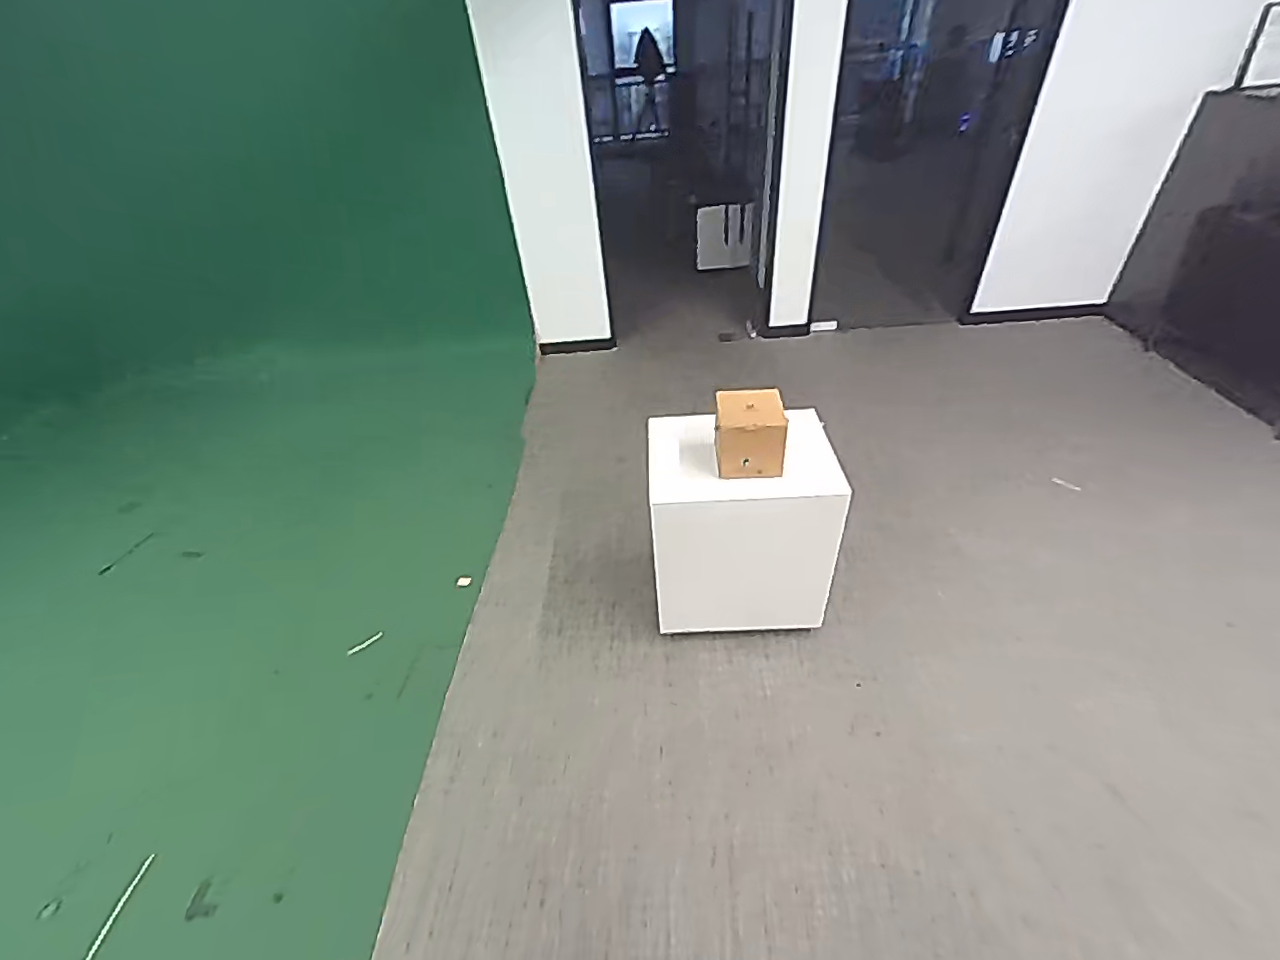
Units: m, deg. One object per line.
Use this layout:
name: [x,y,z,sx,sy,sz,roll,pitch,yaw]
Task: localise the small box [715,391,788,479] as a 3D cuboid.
small box: [0.288,-0.119,1.430,0.168,0.176,0.179,-2,39,4]
